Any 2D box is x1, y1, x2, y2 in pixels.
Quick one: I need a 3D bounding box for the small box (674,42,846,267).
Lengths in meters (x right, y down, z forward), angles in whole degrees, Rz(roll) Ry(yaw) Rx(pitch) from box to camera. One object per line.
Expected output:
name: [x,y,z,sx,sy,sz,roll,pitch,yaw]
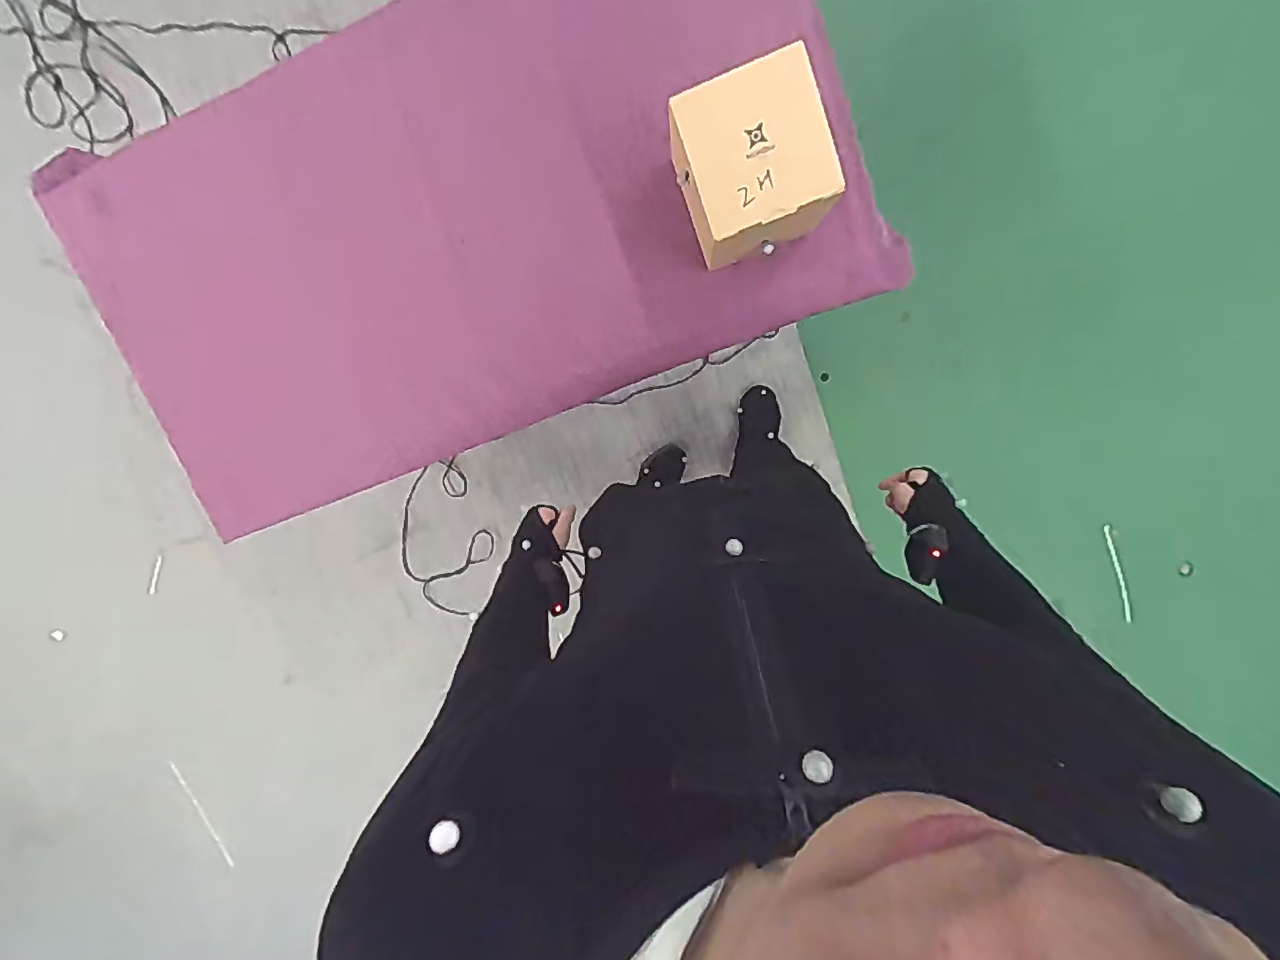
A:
small box: [0.149,-0.411,0.719,0.168,0.176,0.179,-19,97,8]
